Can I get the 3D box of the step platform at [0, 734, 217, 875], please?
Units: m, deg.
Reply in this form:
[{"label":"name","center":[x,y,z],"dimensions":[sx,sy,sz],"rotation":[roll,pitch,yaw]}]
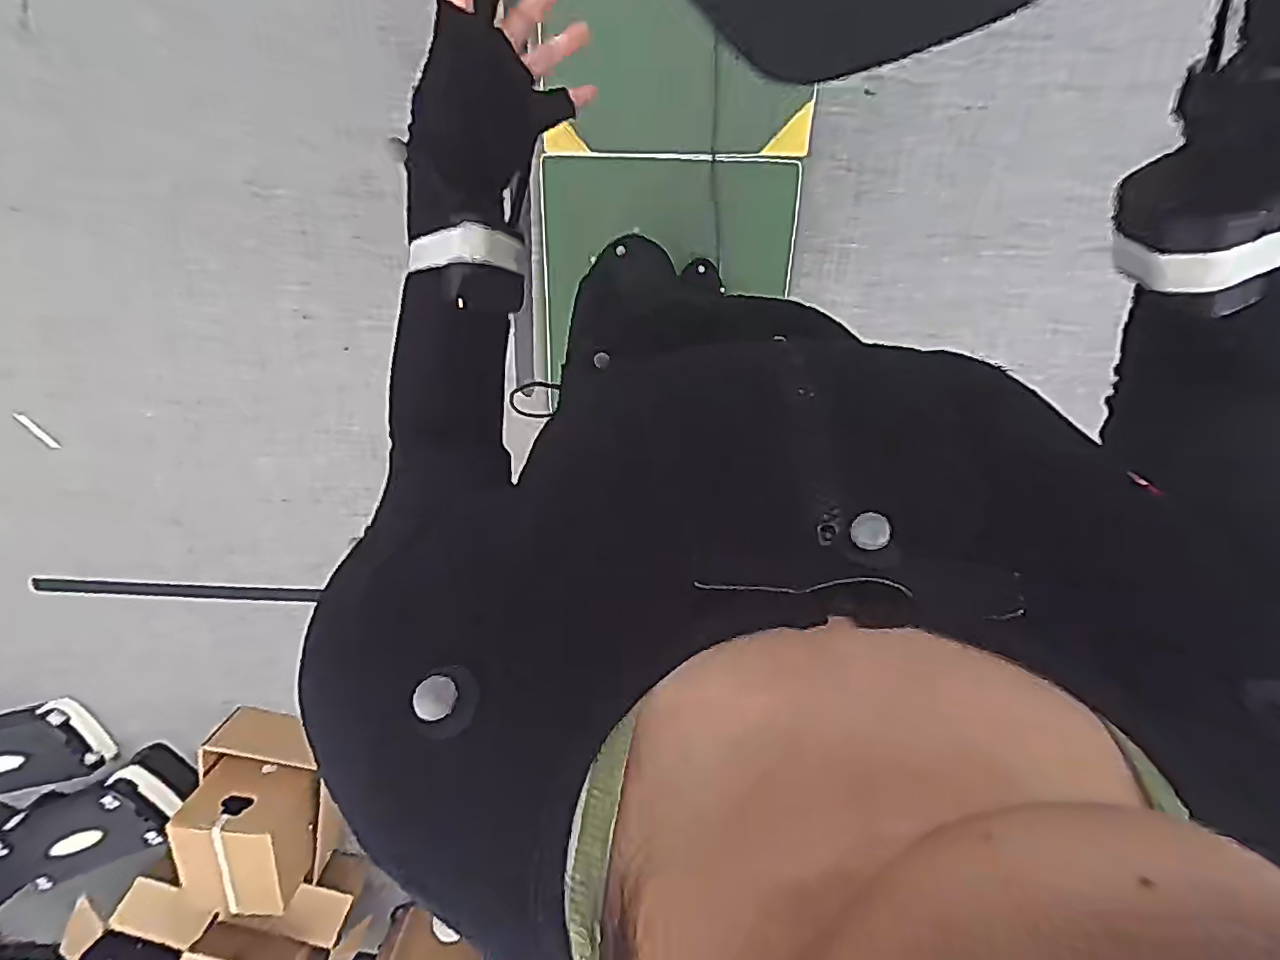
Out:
[{"label":"step platform","center":[-1.960,1.204,1.998],"dimensions":[0.684,0.204,0.286],"rotation":[-25,110,10]}]
